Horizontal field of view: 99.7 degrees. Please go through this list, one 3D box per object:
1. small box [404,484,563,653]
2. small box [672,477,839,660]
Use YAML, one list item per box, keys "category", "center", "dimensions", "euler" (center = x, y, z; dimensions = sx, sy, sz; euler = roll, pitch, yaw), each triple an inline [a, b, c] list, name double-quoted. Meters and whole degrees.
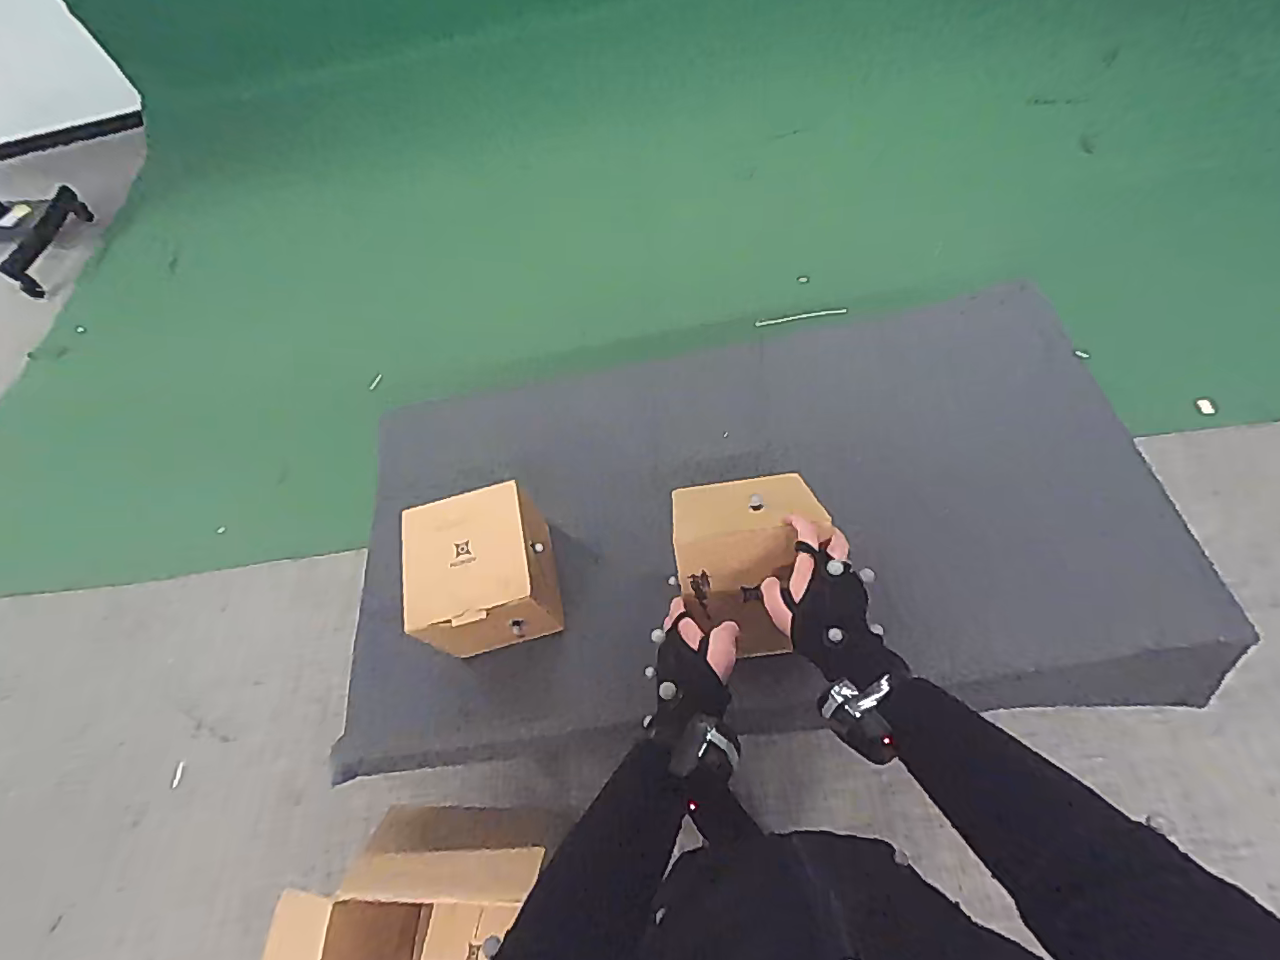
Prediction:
- category: "small box"
  center: [-0.219, 0.137, 0.778]
  dimensions: [0.168, 0.176, 0.179]
  euler: [-16, 59, 0]
- category: "small box"
  center: [0.139, 0.104, 0.695]
  dimensions: [0.179, 0.168, 0.176]
  euler: [-9, 17, 5]
